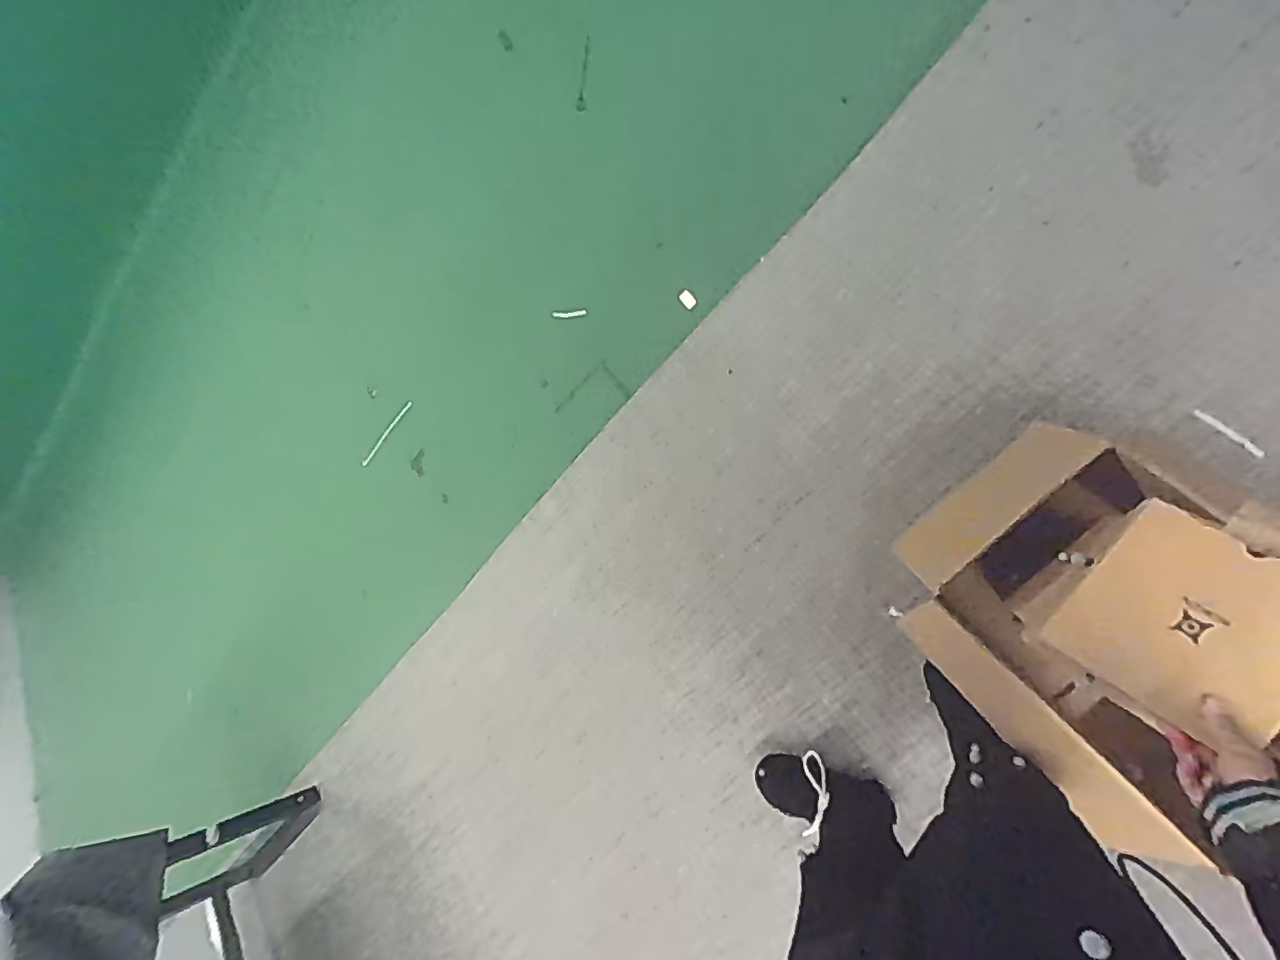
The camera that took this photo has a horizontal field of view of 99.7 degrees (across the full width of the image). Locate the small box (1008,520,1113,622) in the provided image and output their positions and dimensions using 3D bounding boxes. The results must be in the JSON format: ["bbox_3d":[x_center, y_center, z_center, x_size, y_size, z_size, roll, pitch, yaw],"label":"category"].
[{"bbox_3d":[0.622,0.164,0.710,0.168,0.176,0.179,47,108,24],"label":"small box"}]

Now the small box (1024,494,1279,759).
[{"bbox_3d":[0.529,0.147,0.552,0.168,0.176,0.179,38,93,33],"label":"small box"}]
